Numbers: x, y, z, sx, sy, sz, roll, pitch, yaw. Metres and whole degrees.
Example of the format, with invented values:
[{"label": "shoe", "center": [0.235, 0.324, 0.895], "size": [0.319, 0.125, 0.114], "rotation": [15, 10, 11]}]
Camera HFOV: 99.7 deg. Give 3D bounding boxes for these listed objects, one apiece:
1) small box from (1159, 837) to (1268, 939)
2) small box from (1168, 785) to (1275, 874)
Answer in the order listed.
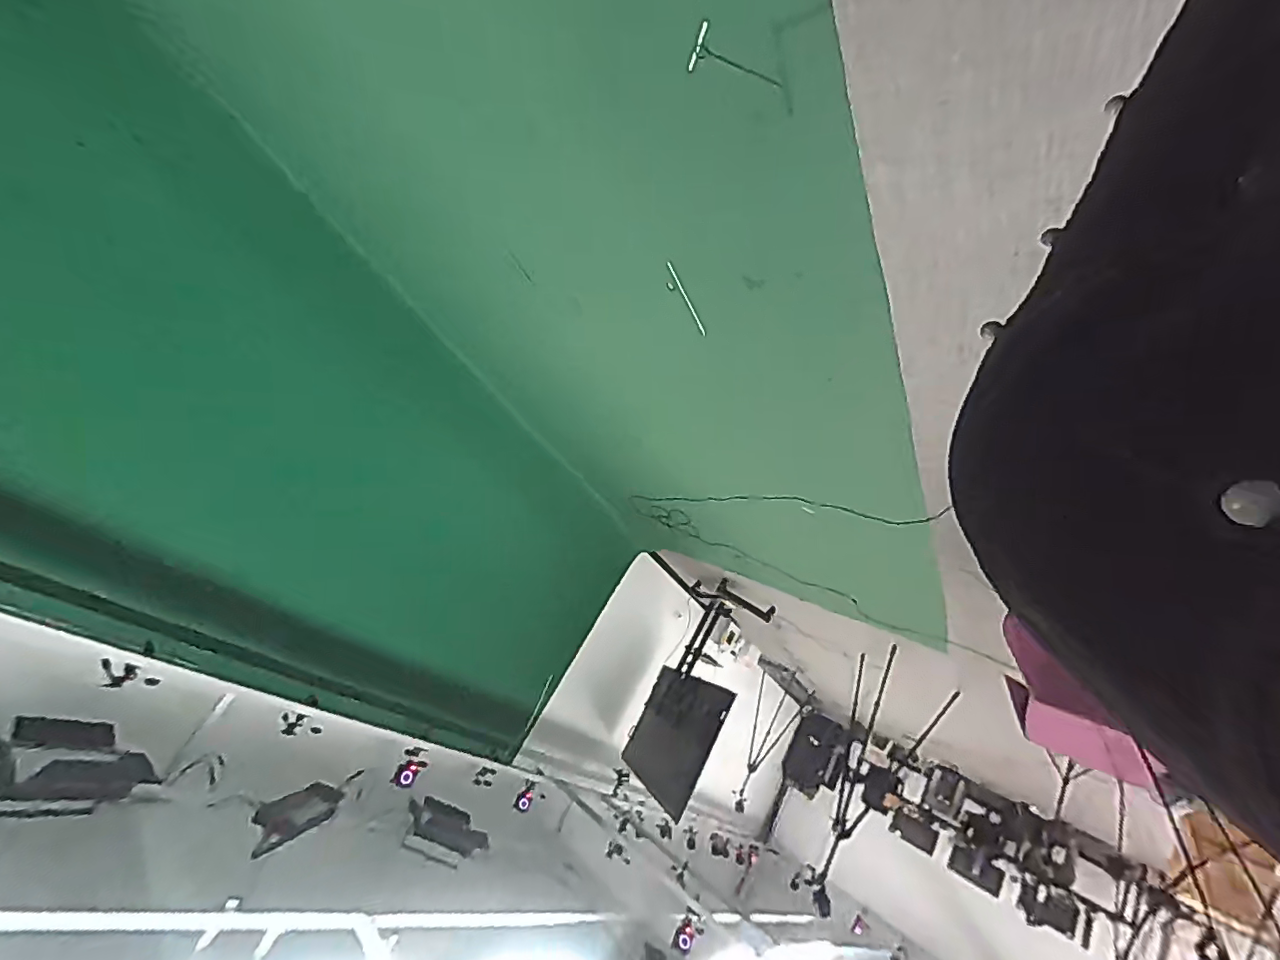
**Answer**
[{"label": "small box", "center": [1.666, 1.176, 1.572], "size": [0.179, 0.176, 0.168], "rotation": [18, 157, 36]}, {"label": "small box", "center": [1.749, 1.047, 1.631], "size": [0.179, 0.176, 0.168], "rotation": [17, 157, 38]}]
